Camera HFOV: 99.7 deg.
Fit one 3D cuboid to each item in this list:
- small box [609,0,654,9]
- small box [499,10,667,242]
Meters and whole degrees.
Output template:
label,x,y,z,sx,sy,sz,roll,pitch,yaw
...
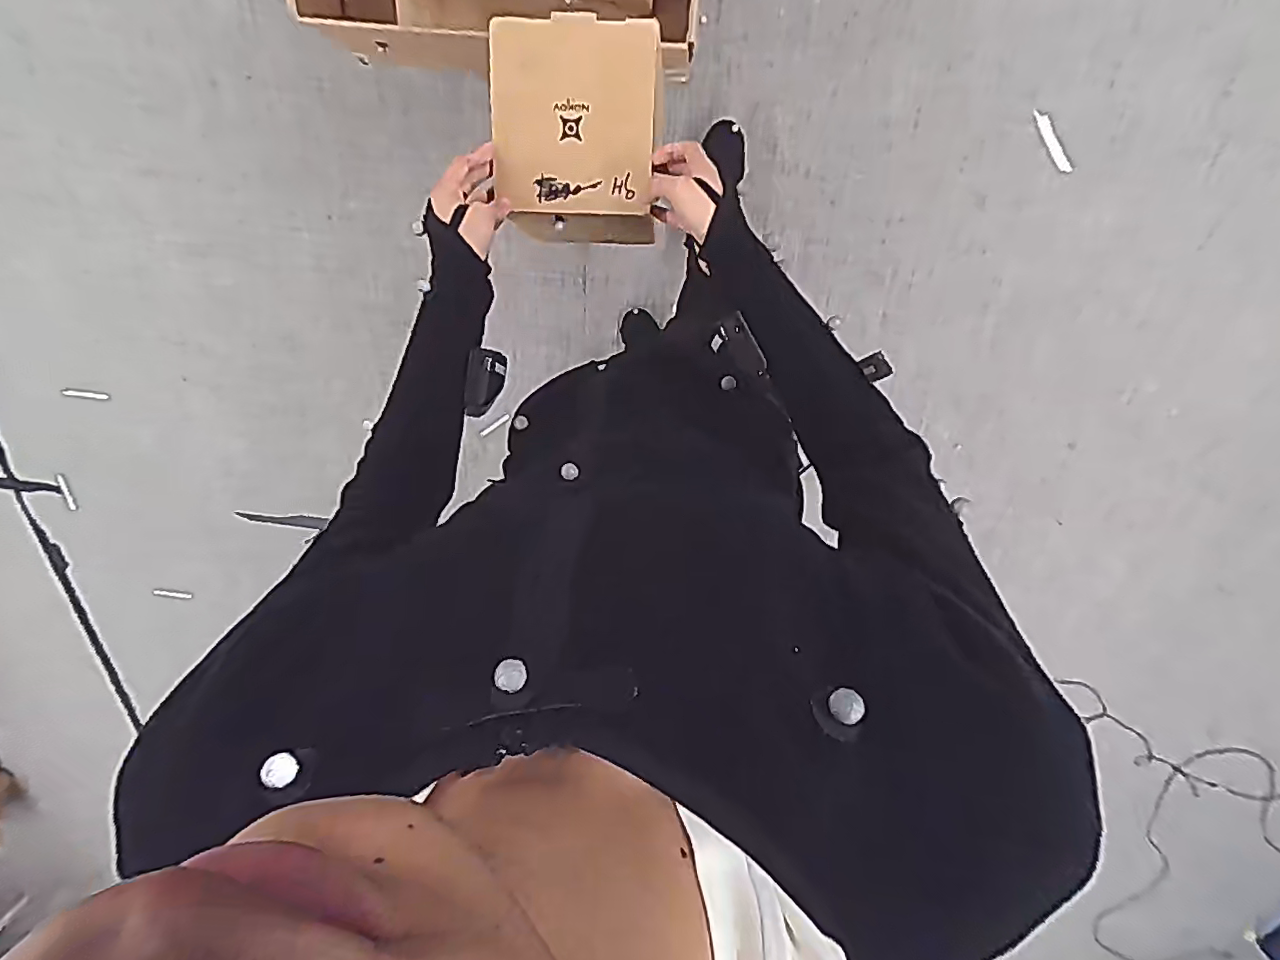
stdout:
label,x,y,z,sx,sy,sz,roll,pitch,yaw
small box,-0.050,-0.810,0.764,0.168,0.176,0.179,12,116,1
small box,-0.056,-0.385,0.617,0.168,0.176,0.179,3,104,3
